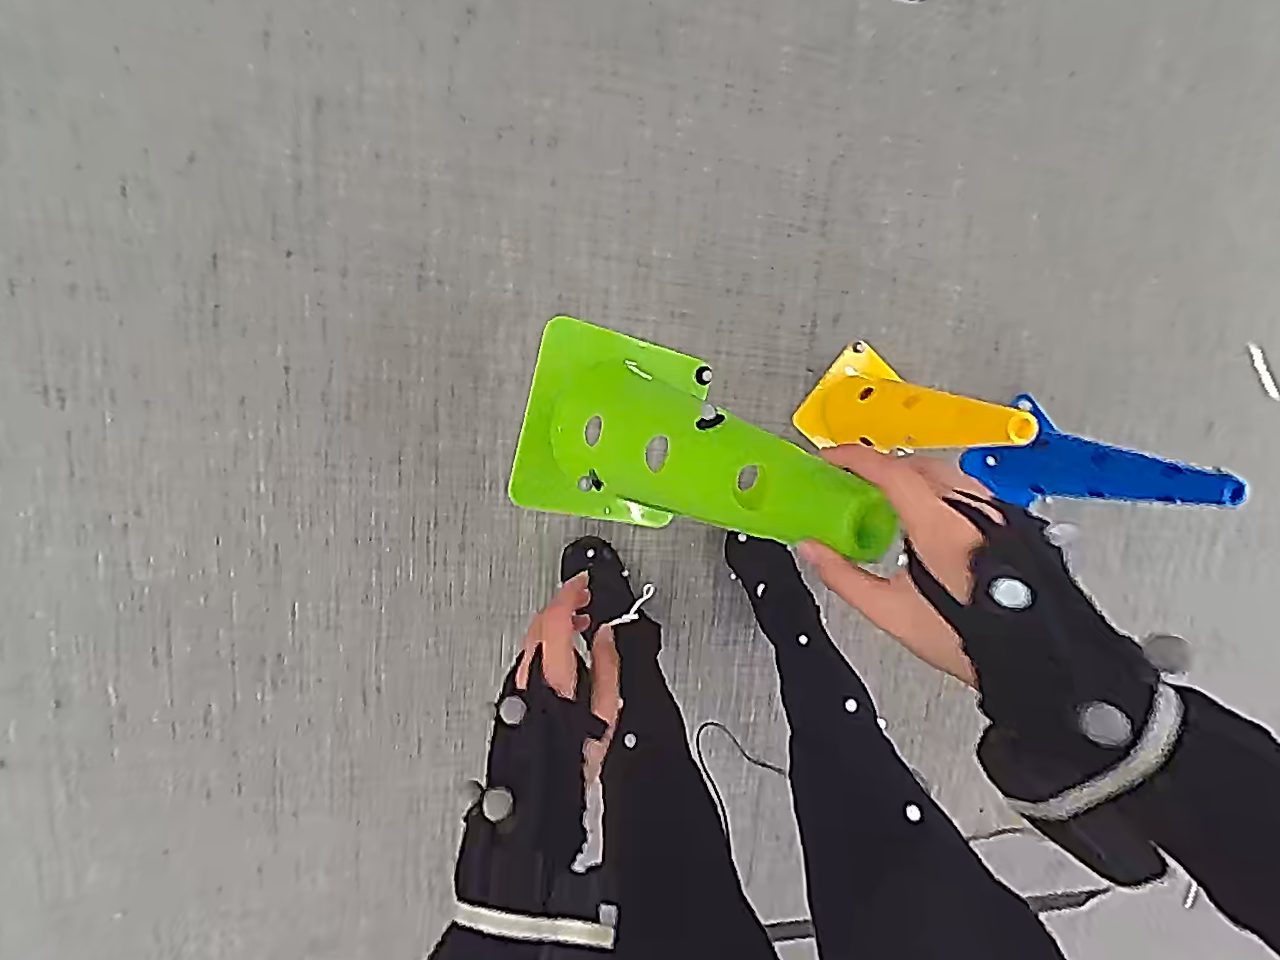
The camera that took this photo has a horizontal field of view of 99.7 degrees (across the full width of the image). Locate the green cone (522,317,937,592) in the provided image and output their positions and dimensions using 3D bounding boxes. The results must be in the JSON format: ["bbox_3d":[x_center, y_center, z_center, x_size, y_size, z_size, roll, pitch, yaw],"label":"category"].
[{"bbox_3d":[0.057,-0.010,0.421,0.200,0.368,0.202,11,99,-26],"label":"green cone"}]
